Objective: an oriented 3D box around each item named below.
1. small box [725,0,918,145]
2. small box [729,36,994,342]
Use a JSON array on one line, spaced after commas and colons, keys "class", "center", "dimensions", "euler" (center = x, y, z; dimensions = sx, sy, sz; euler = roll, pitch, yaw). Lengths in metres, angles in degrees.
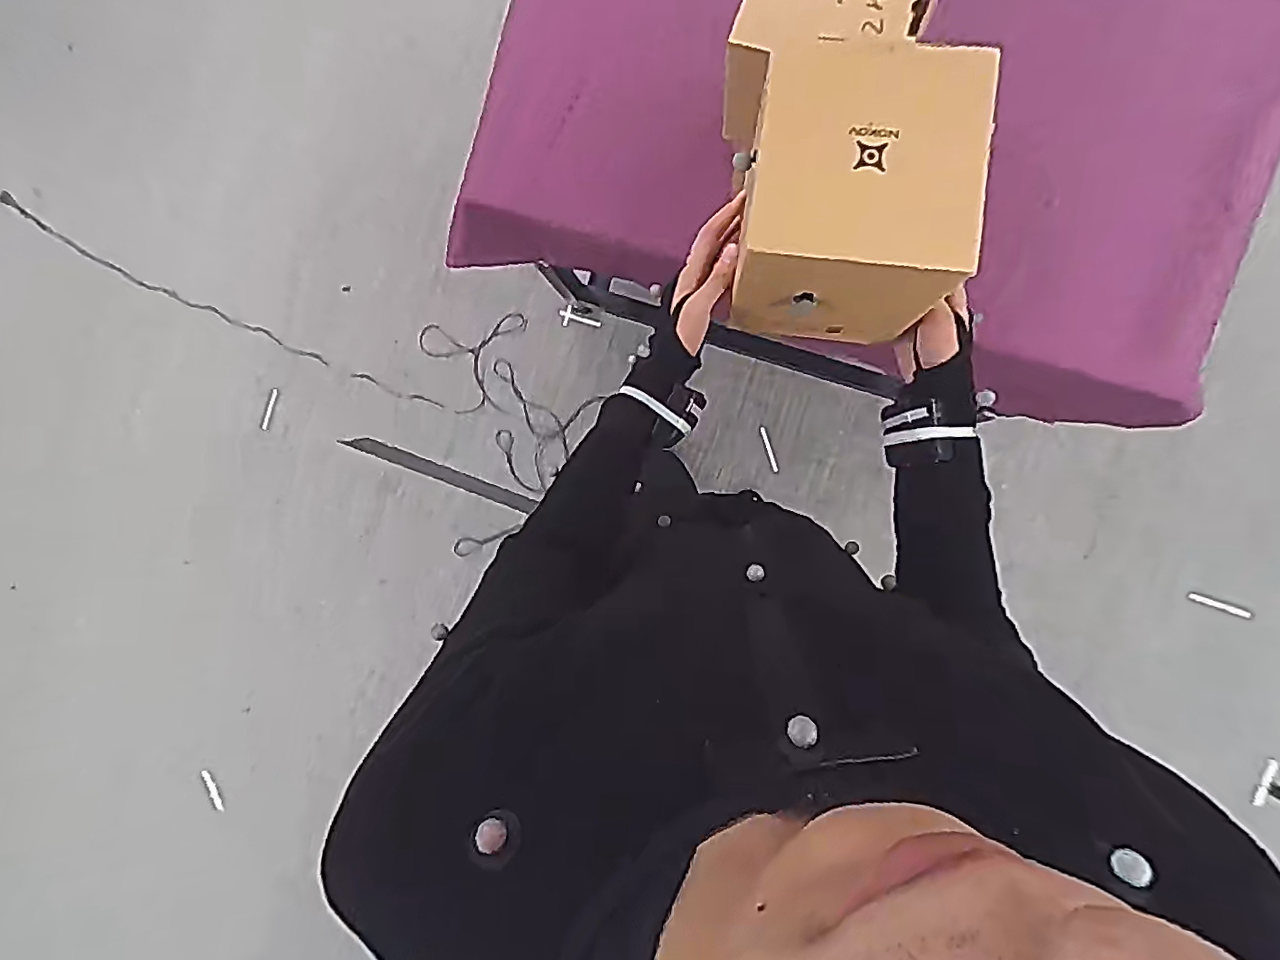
[{"class": "small box", "center": [0.207, -0.506, 0.637], "dimensions": [0.179, 0.176, 0.168], "euler": [21, 93, 6]}, {"class": "small box", "center": [0.174, -0.236, 0.478], "dimensions": [0.168, 0.176, 0.179], "euler": [8, 85, 5]}]
